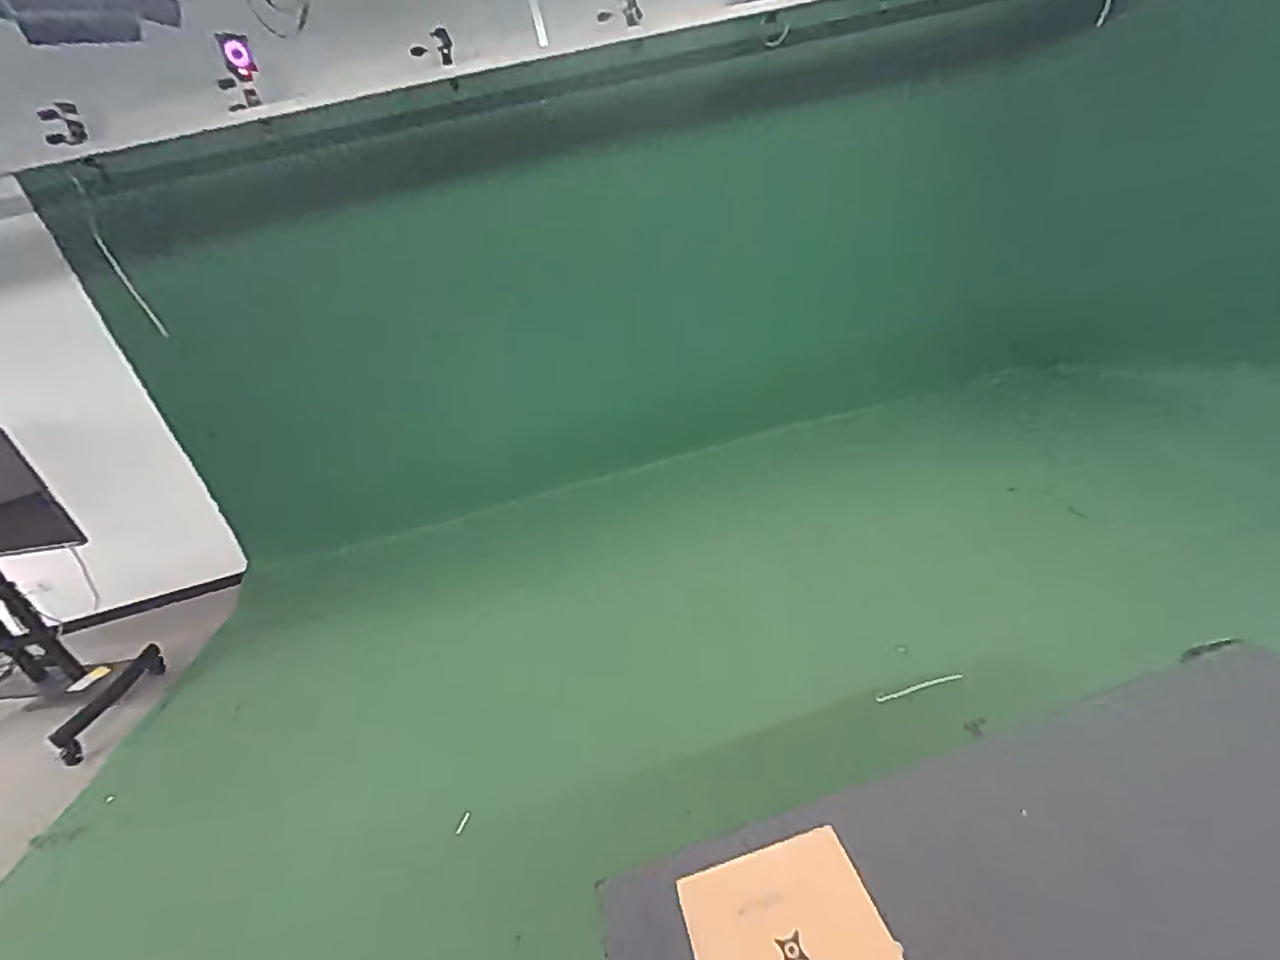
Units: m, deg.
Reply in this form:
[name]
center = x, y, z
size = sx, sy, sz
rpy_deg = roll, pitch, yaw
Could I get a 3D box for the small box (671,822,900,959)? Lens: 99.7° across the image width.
[small box]
center = 0.140, 0.463, 0.483
size = 0.168, 0.176, 0.179
rpy_deg = -15, 23, -7
